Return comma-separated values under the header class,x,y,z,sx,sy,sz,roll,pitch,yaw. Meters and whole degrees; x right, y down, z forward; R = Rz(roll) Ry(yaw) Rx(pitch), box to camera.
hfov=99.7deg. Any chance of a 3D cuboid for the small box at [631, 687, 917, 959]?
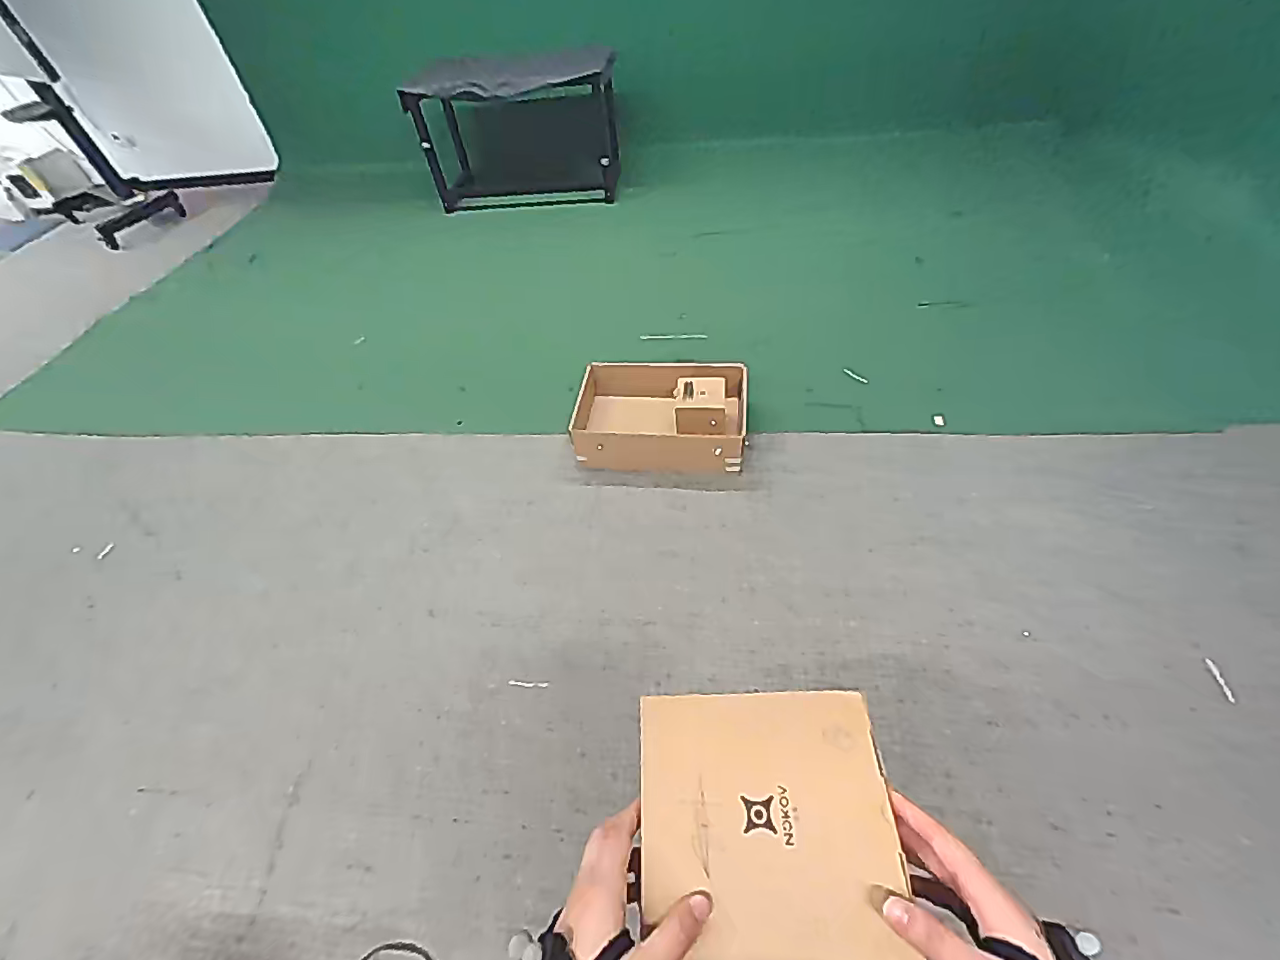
class,x,y,z,sx,sy,sz,roll,pitch,yaw
small box,0.090,0.279,0.439,0.179,0.176,0.168,-5,51,6
